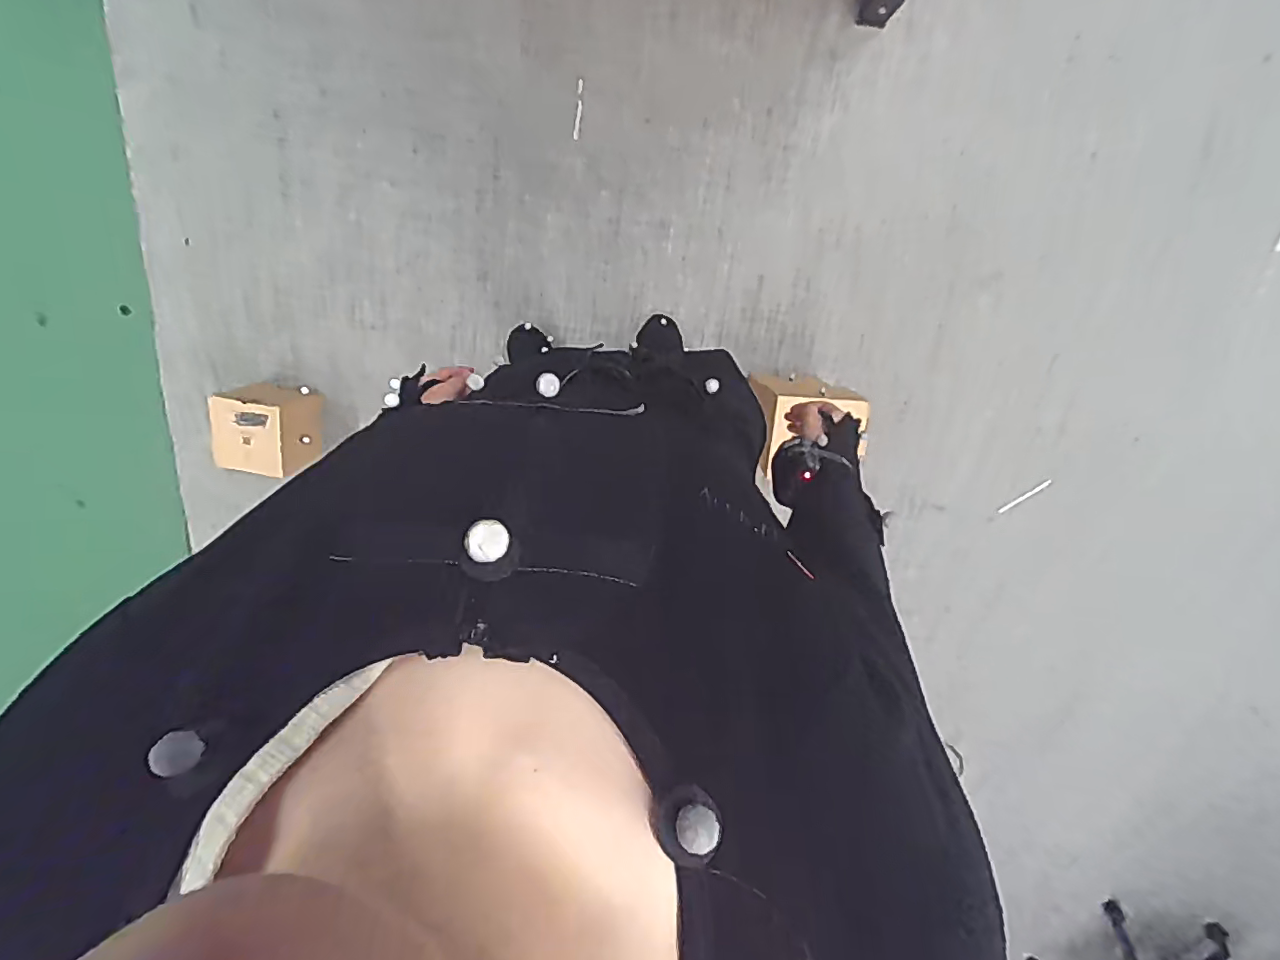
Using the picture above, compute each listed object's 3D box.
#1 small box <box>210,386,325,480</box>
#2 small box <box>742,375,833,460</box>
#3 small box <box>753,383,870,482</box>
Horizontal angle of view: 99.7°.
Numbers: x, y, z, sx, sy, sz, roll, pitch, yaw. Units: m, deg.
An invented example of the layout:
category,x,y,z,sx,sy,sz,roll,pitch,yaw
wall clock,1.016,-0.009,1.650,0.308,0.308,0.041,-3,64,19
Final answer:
category,x,y,z,sx,sy,sz,roll,pitch,yaw
small box,-0.894,-0.121,1.313,0.168,0.176,0.179,11,110,-1
small box,0.336,-0.146,1.253,0.168,0.176,0.179,3,109,1
small box,0.336,-0.102,1.095,0.179,0.176,0.168,3,108,2
